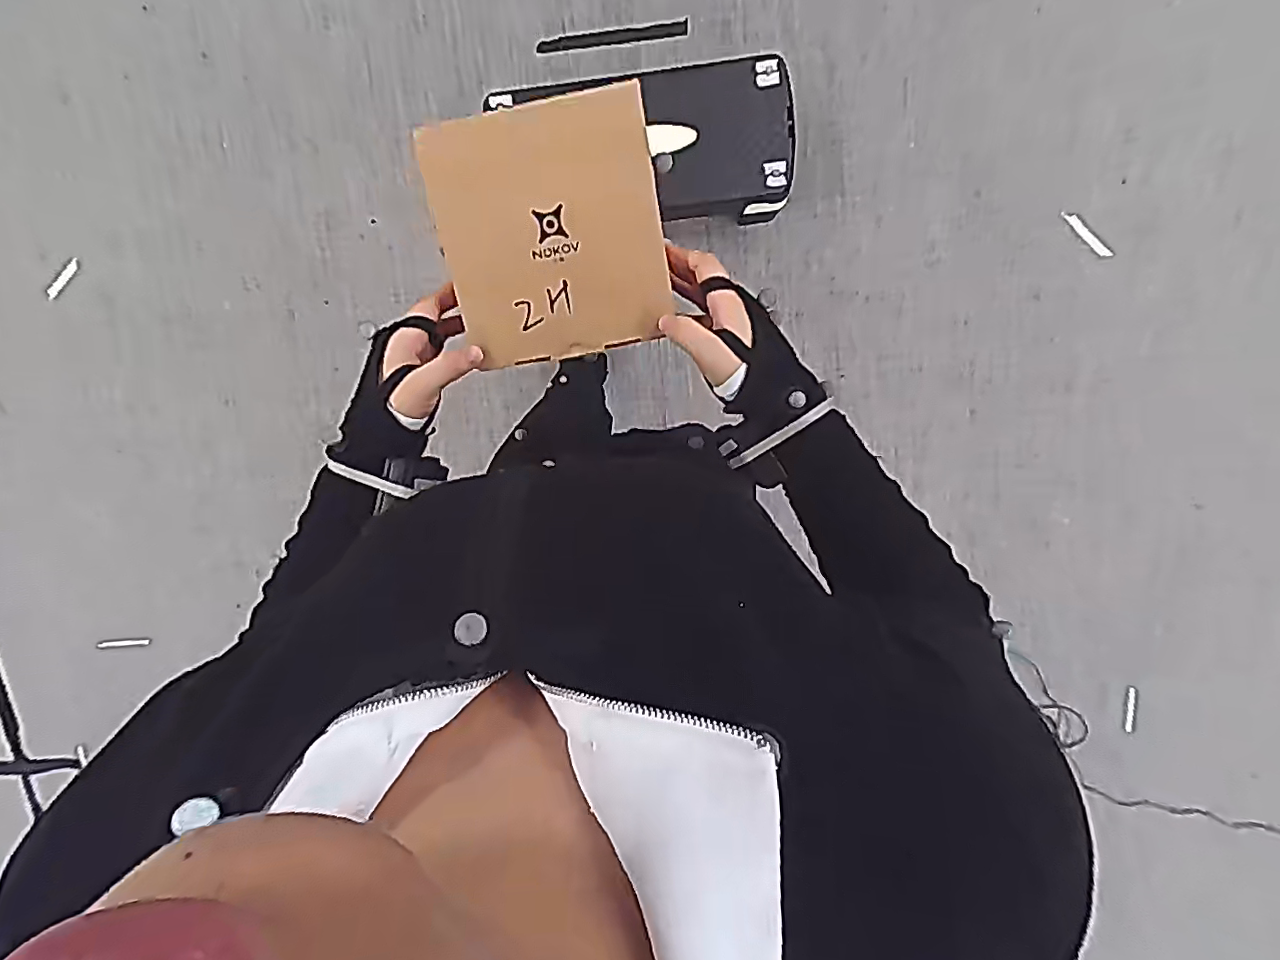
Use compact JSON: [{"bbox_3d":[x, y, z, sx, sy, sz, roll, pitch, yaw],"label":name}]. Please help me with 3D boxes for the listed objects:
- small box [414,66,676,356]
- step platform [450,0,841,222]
[{"bbox_3d":[-0.066,-0.214,0.474,0.168,0.176,0.179,-9,108,3],"label":"small box"},{"bbox_3d":[0.008,-0.662,1.034,0.684,0.204,0.286,-6,100,1],"label":"step platform"}]
